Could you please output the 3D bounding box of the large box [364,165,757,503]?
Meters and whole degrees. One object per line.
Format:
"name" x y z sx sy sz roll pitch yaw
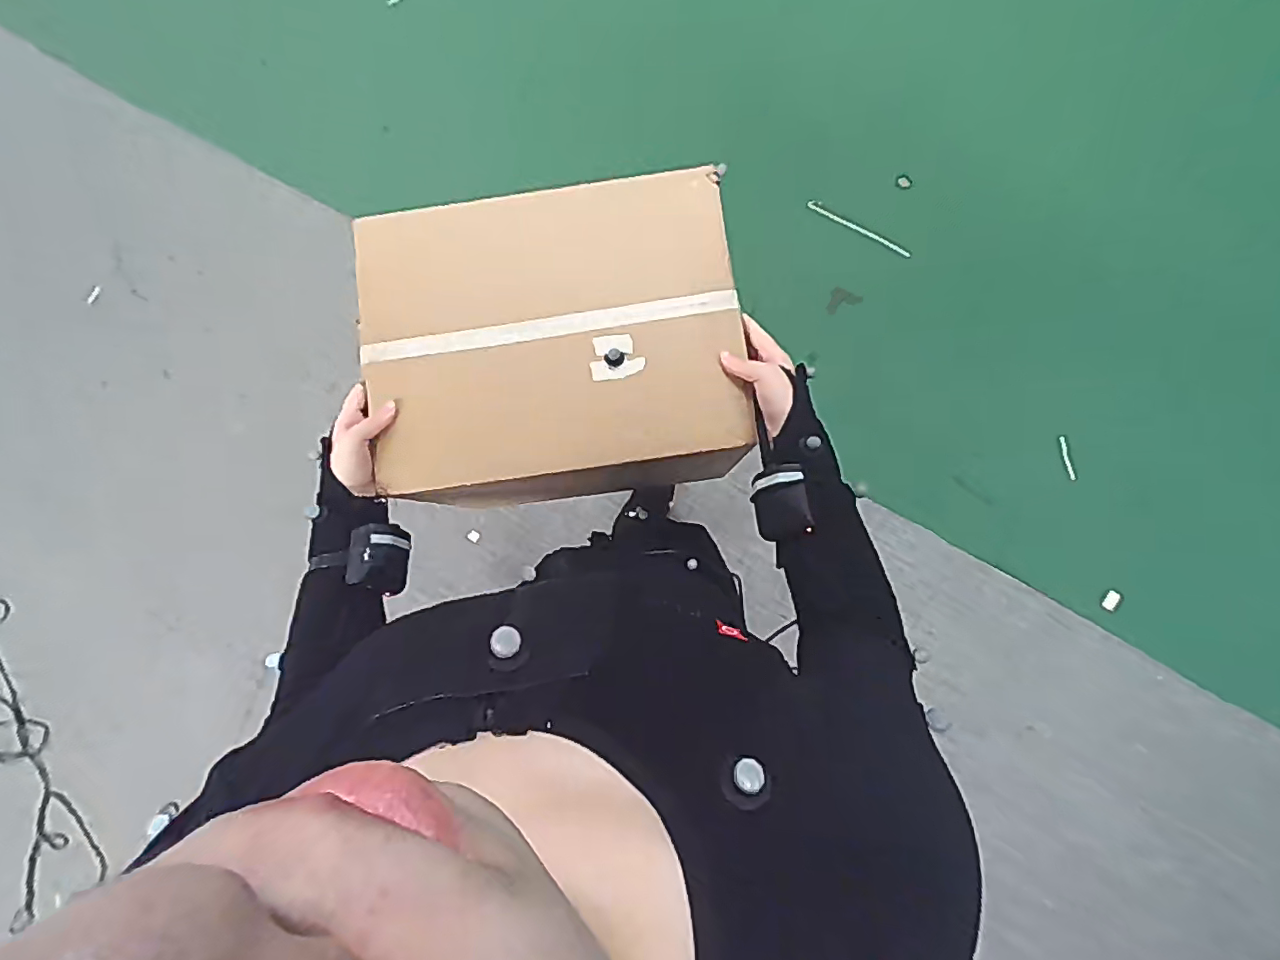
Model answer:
"large box" -0.091 -0.156 0.732 0.408 0.320 0.320 -8 84 0
